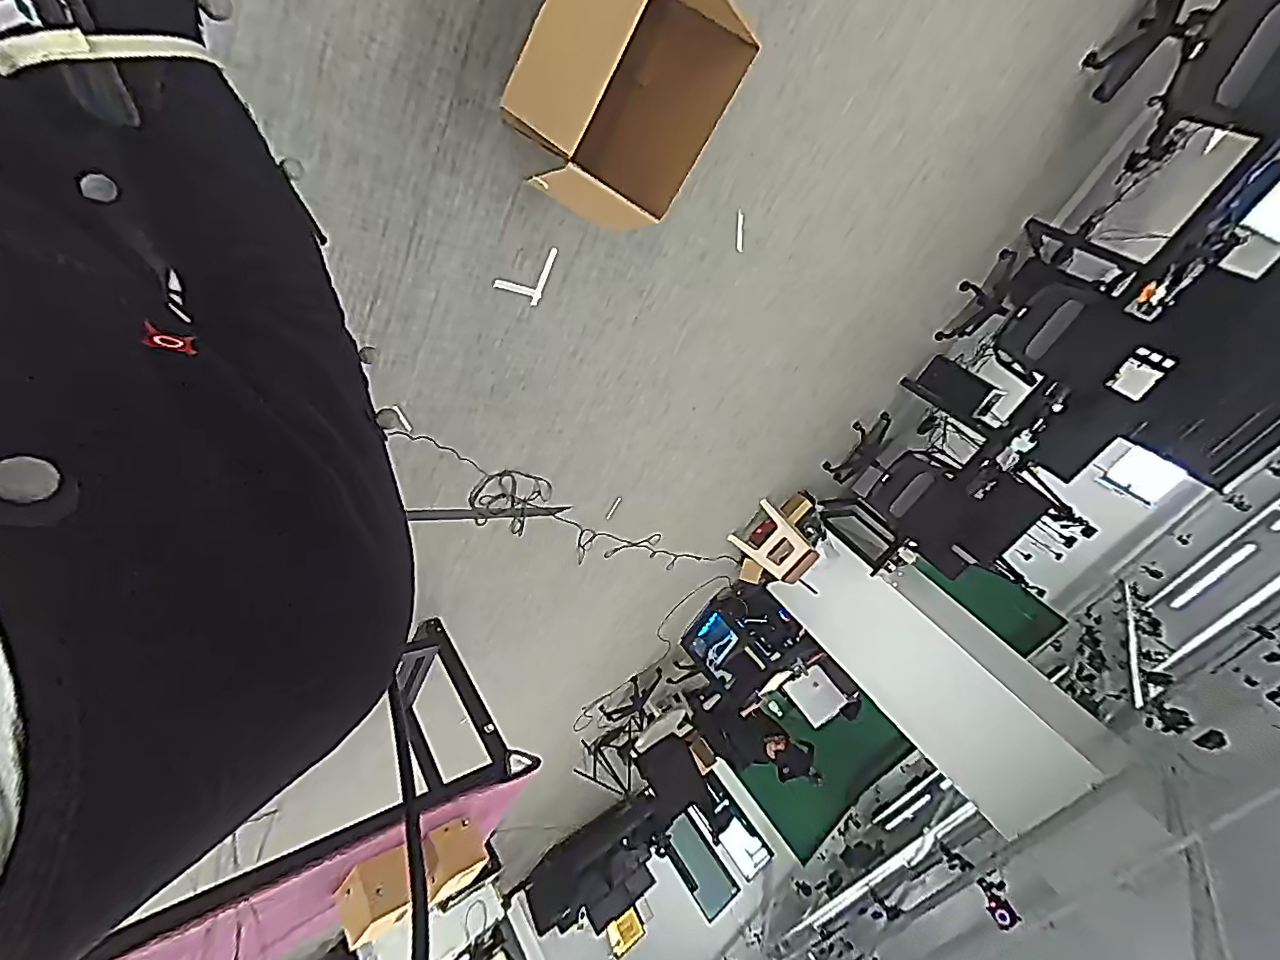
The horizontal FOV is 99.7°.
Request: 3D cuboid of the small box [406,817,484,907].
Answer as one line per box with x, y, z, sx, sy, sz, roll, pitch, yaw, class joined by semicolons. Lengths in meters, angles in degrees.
-0.672;1.292;1.849;0.168;0.176;0.179;9;122;-52;small box
